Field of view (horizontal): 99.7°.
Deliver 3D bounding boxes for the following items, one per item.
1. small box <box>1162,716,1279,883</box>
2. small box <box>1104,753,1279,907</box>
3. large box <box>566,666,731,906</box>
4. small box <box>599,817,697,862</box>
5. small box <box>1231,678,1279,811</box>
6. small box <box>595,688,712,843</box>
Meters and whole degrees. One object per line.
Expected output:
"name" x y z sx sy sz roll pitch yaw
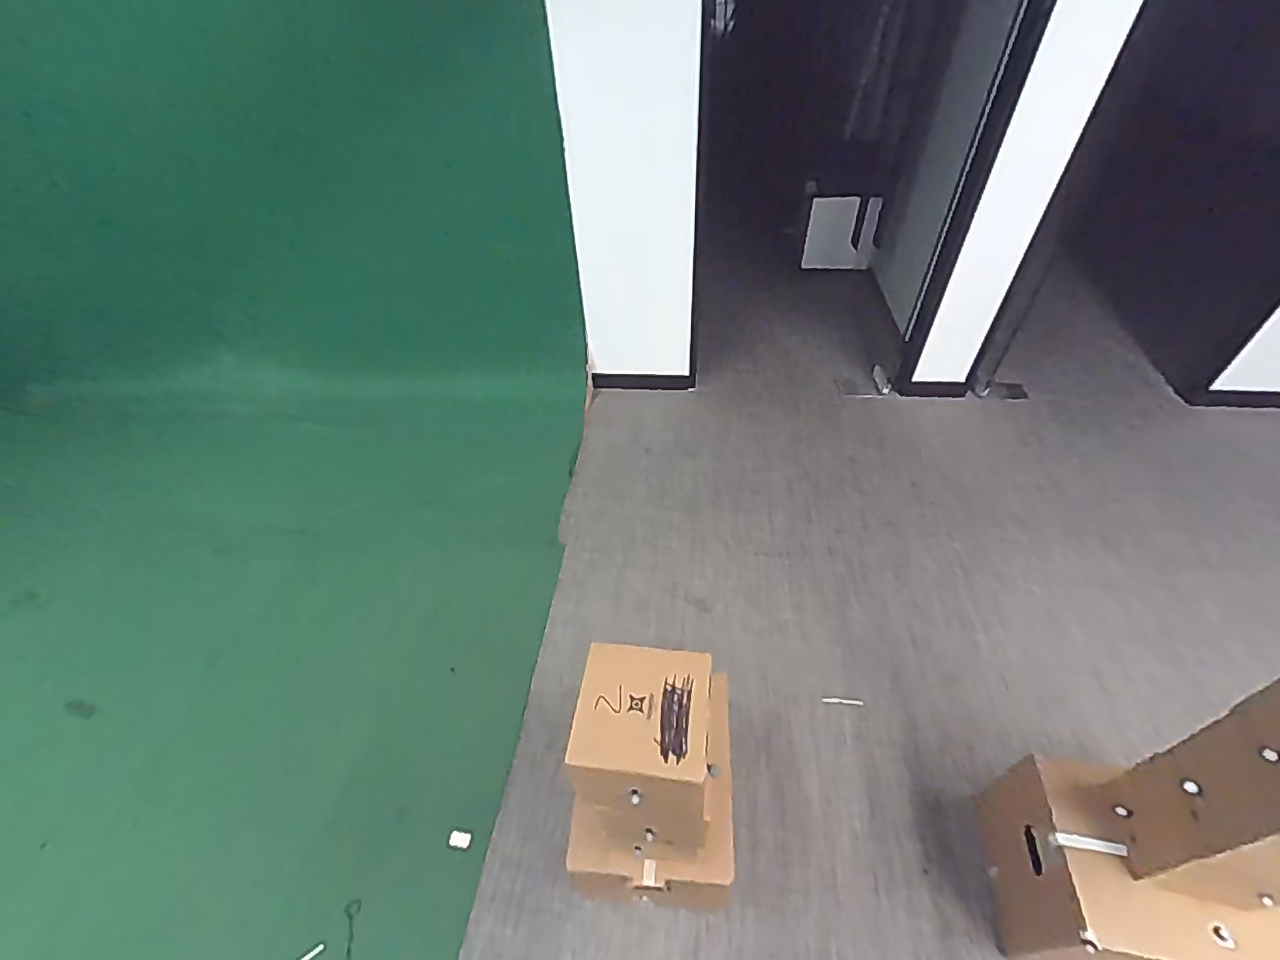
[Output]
"small box" 0.962 0.488 0.813 0.179 0.176 0.168 10 44 13
"small box" 0.964 0.604 0.929 0.179 0.176 0.168 9 45 12
"large box" 0.033 0.690 1.231 0.320 0.320 0.408 2 44 5
"small box" 0.027 0.581 0.997 0.168 0.176 0.179 3 45 6
"small box" 0.956 0.367 0.702 0.168 0.176 0.179 10 45 11
"small box" 0.029 0.466 0.878 0.168 0.176 0.179 4 45 6
